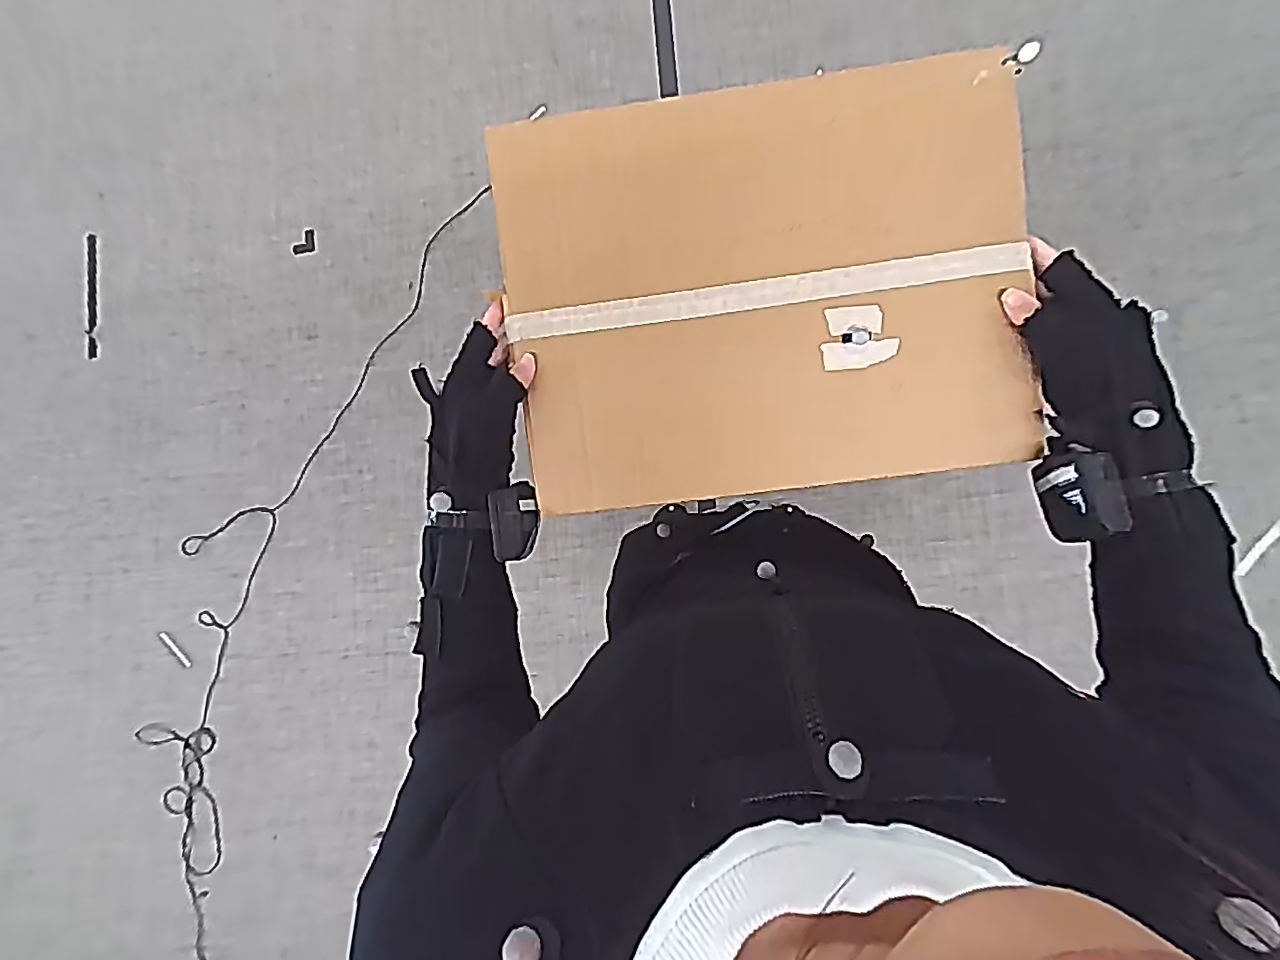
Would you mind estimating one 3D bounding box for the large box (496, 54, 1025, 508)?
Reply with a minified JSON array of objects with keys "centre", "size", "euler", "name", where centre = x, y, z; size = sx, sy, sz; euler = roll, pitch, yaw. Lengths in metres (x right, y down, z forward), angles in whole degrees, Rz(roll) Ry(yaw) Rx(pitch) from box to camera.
[{"centre":[0.102,-0.164,0.587],"size":[0.408,0.320,0.320],"euler":[-7,95,2],"name":"large box"}]
